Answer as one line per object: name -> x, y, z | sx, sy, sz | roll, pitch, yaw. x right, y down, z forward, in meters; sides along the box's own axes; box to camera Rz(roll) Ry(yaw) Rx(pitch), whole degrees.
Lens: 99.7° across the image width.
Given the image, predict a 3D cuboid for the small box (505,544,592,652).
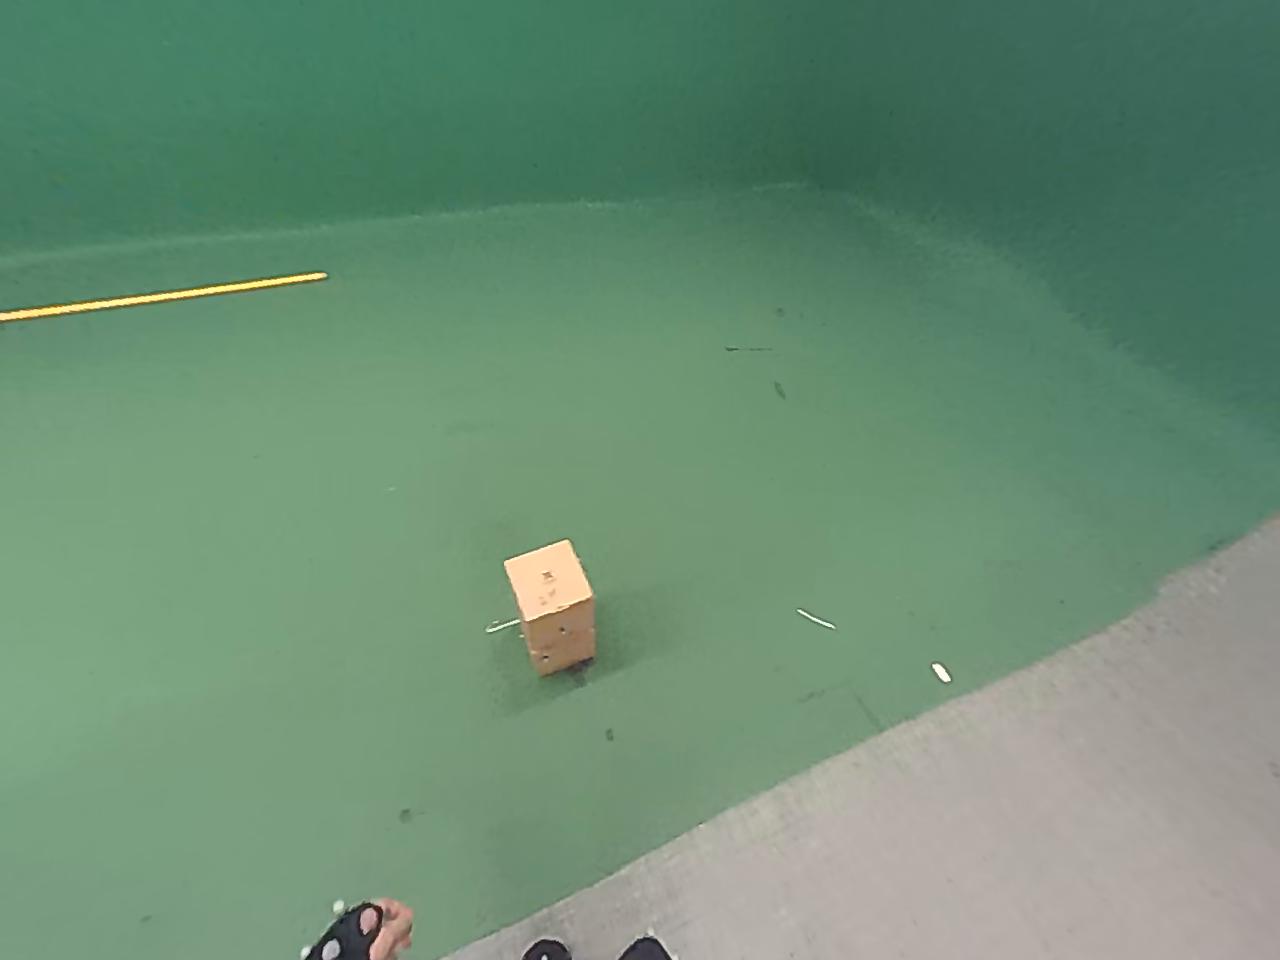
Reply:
small box -> -0.228, 0.295, 1.348 | 0.168, 0.176, 0.179 | -18, 54, -19
